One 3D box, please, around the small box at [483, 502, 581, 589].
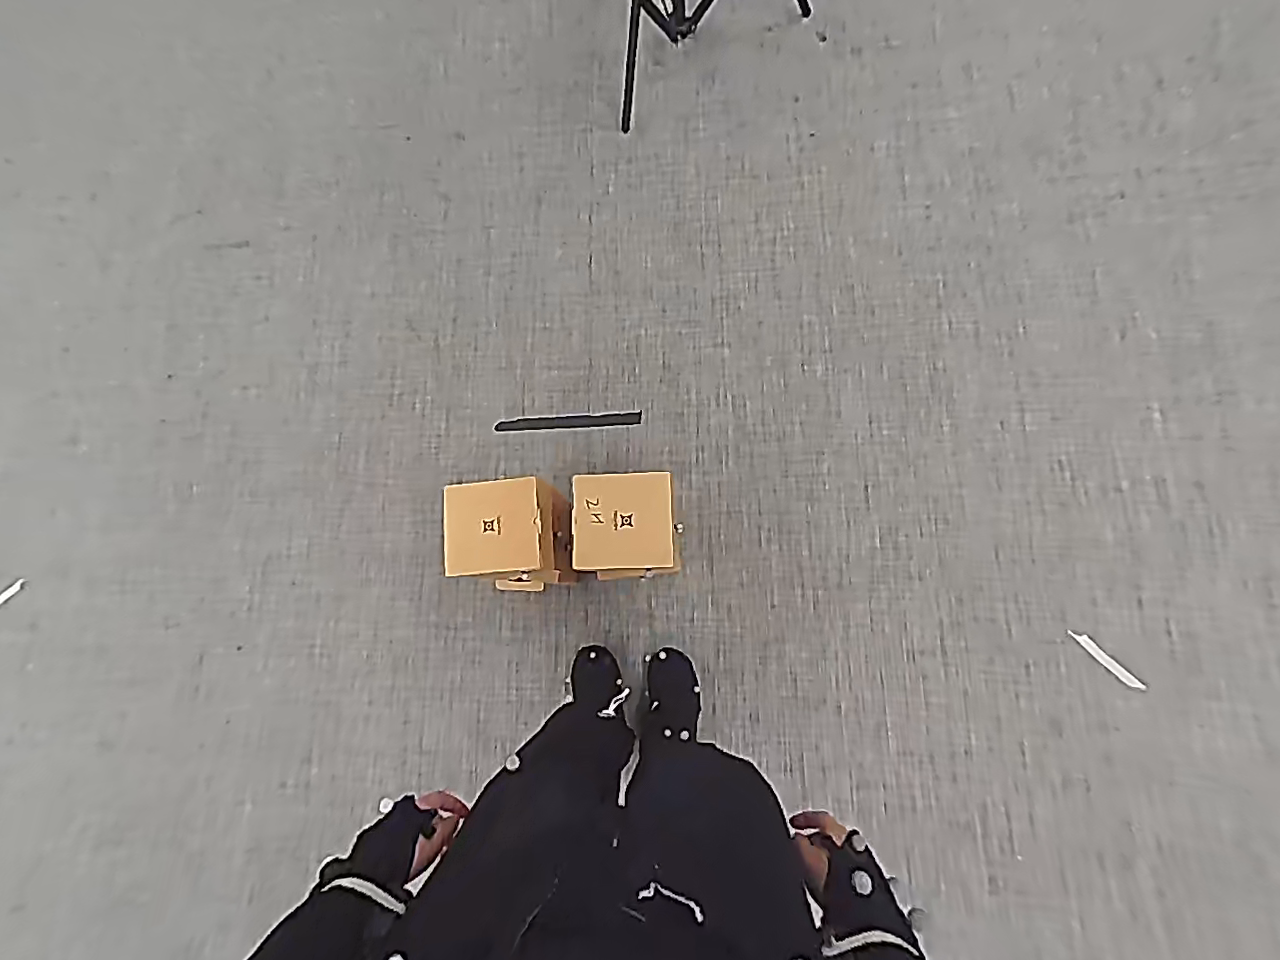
[{"bbox_3d":[-0.229,0.147,1.187,0.168,0.176,0.179,0,78,6],"label":"small box"}]
